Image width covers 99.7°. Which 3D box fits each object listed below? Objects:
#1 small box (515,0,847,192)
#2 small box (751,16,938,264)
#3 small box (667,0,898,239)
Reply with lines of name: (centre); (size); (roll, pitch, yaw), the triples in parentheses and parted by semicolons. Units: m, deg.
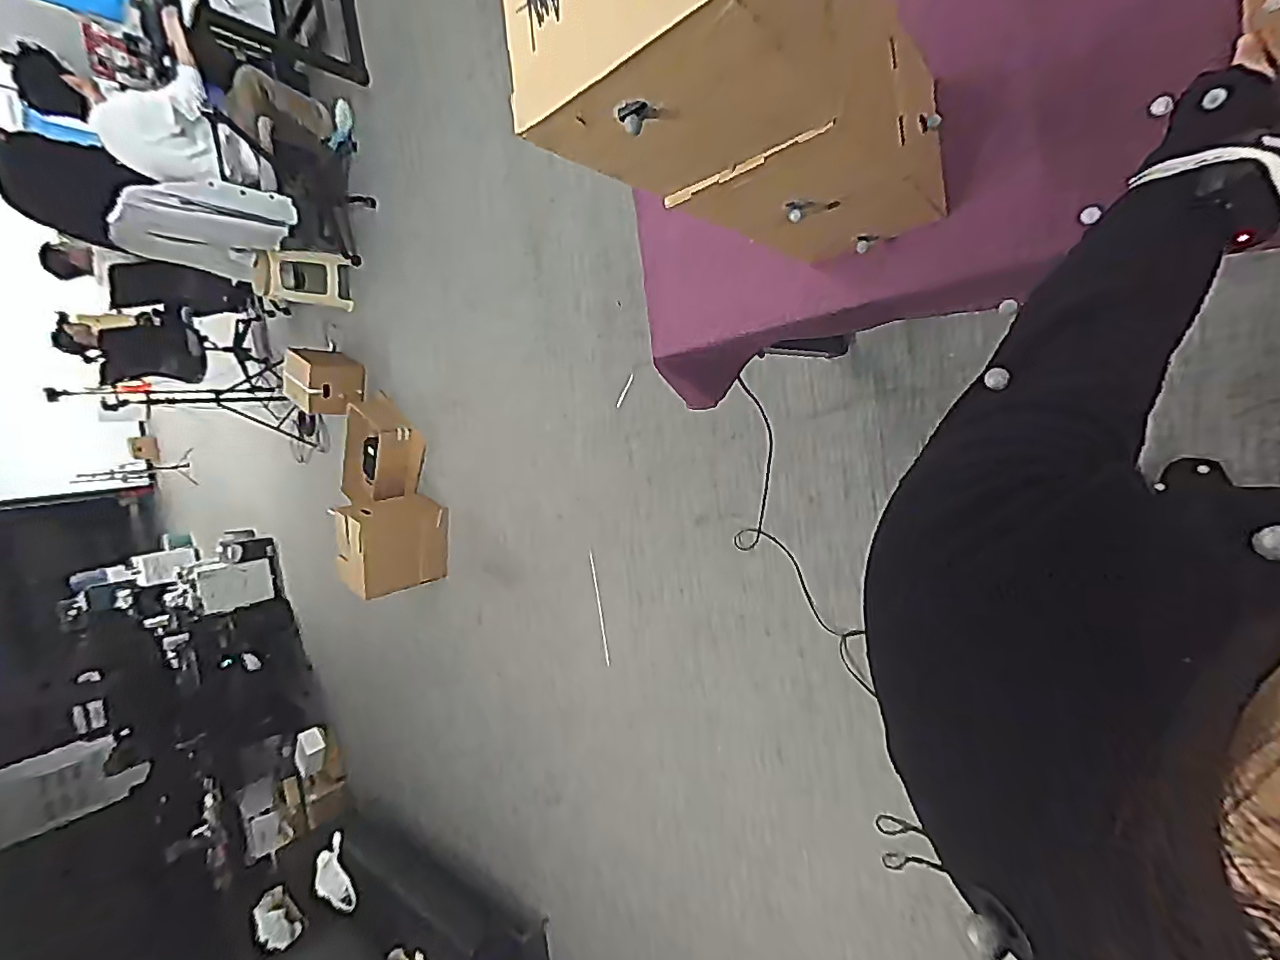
small box: (0.029, -0.336, 0.389); (0.179, 0.176, 0.168); (-2, 97, 40)
small box: (0.239, -0.375, 0.639); (0.179, 0.176, 0.168); (-6, 93, 41)
small box: (0.132, -0.357, 0.515); (0.168, 0.176, 0.179); (-4, 96, 42)
